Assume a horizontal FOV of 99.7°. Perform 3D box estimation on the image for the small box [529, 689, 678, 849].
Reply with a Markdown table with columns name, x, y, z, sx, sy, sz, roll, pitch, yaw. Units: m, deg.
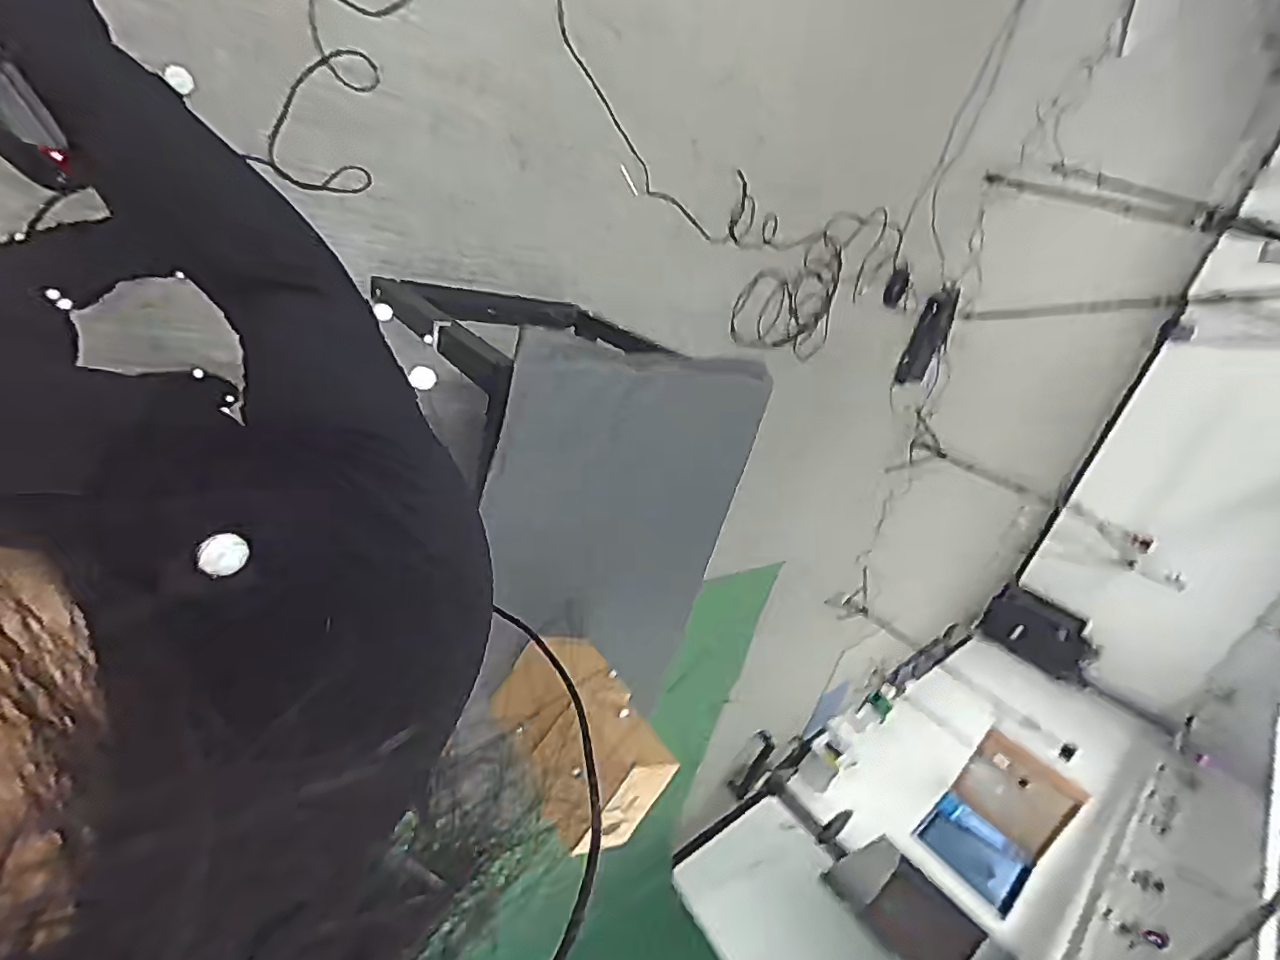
| name | x | y | z | sx | sy | sz | roll | pitch | yaw |
| --- | --- | --- | --- | --- | --- | --- | --- | --- | --- |
| small box | -0.072 | 0.506 | 0.963 | 0.179 | 0.176 | 0.168 | -54 | 140 | 0 |
